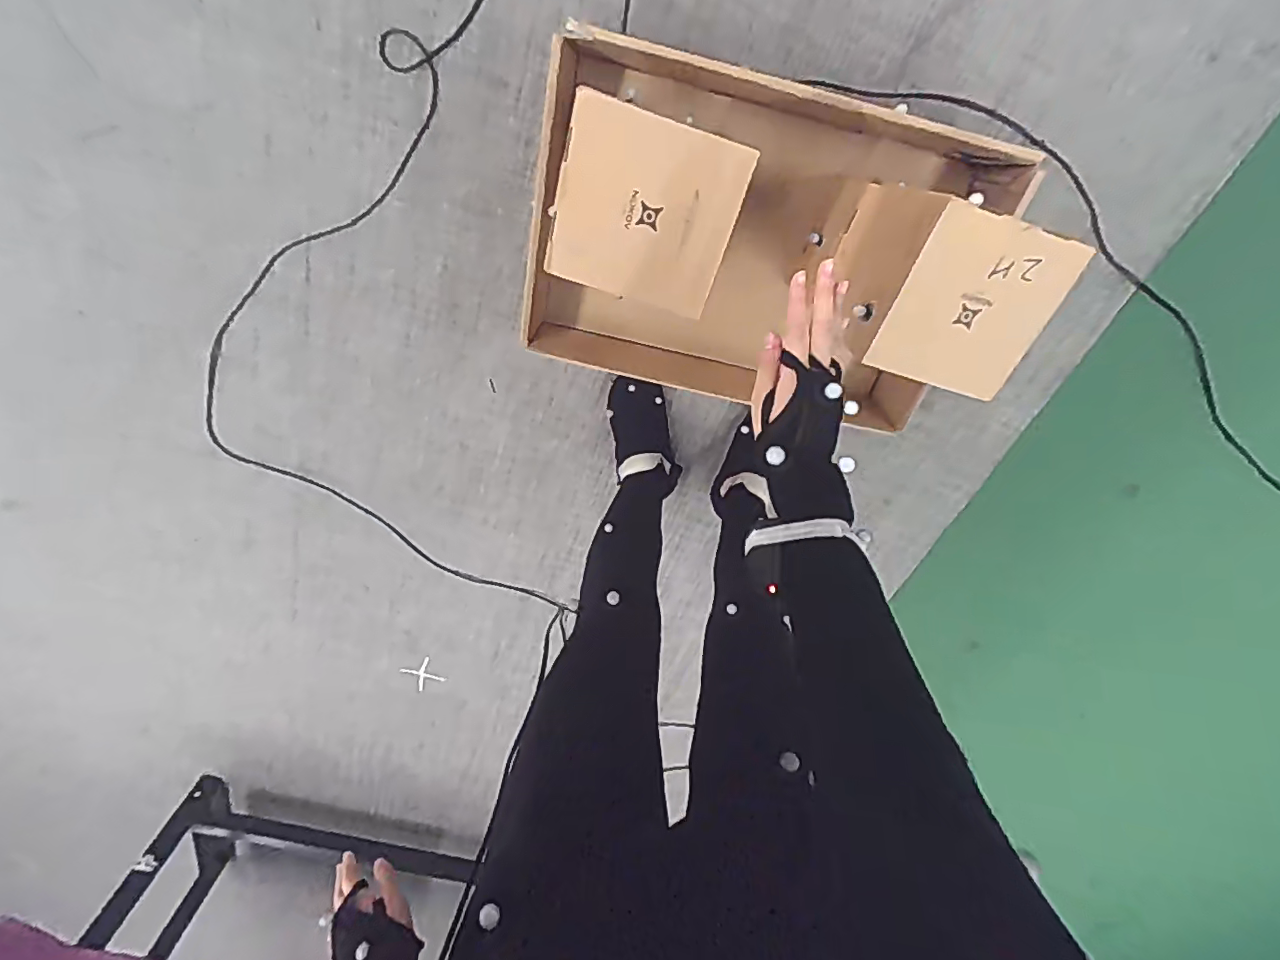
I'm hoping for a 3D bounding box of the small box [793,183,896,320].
[{"bbox_3d":[0.341,-0.309,0.774,0.179,0.176,0.168,16,121,-7],"label":"small box"}]

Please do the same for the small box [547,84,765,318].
[{"bbox_3d":[0.012,-0.304,0.597,0.179,0.176,0.168,16,122,-8],"label":"small box"}]

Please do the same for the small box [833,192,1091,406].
[{"bbox_3d":[0.349,-0.217,0.636,0.168,0.176,0.179,16,120,-9],"label":"small box"}]
